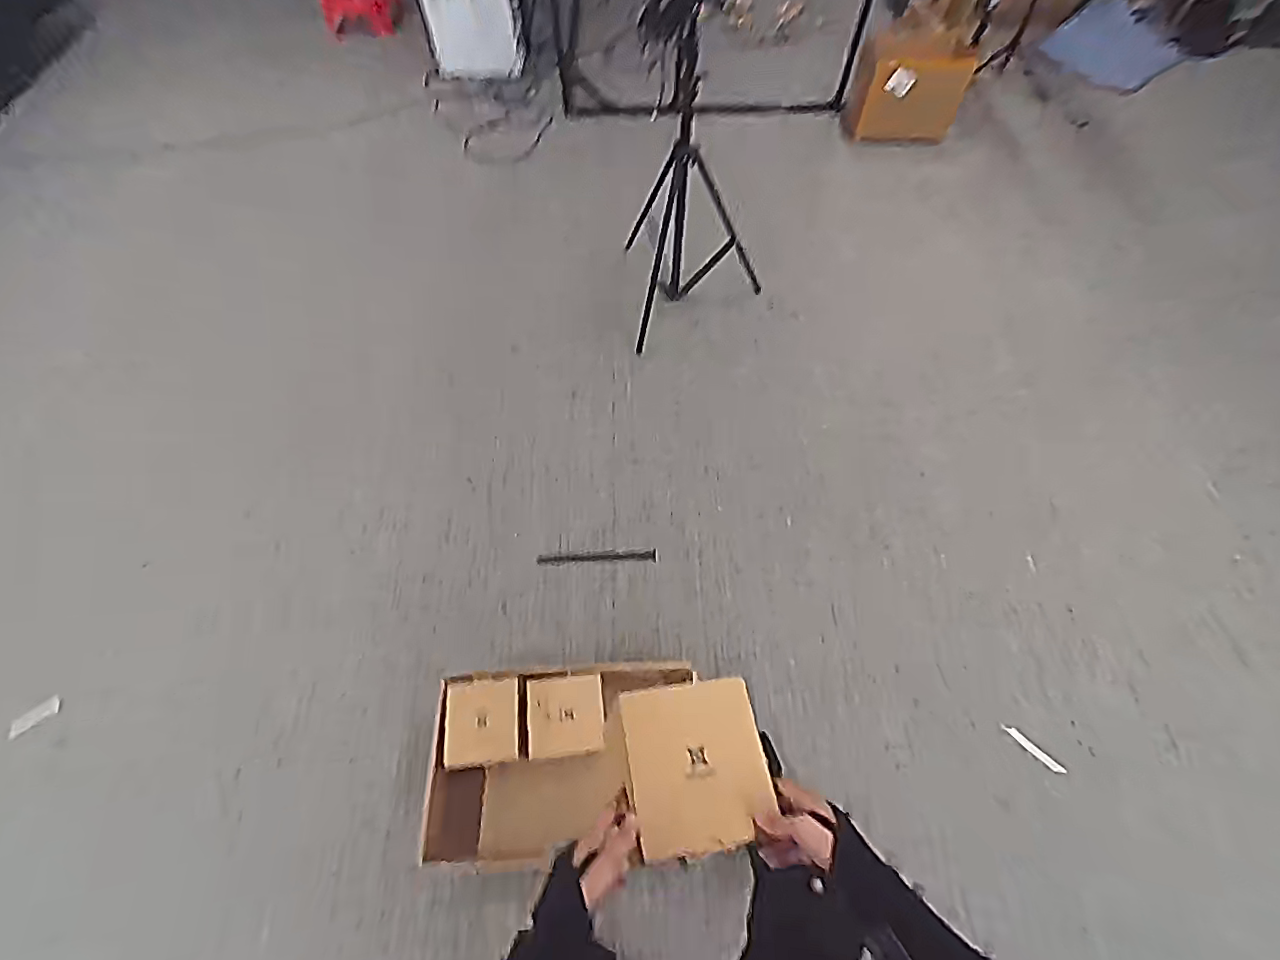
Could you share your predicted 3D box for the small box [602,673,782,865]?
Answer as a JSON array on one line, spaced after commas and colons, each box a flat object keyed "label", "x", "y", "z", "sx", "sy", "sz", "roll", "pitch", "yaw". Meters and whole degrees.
[{"label": "small box", "x": 0.049, "y": 0.366, "z": 0.685, "sx": 0.168, "sy": 0.176, "sz": 0.179, "roll": -4, "pitch": 55, "yaw": -14}]

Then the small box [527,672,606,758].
[{"label": "small box", "x": -0.171, "y": 0.565, "z": 1.296, "sx": 0.179, "sy": 0.176, "sz": 0.168, "roll": -6, "pitch": 62, "yaw": -4}]
